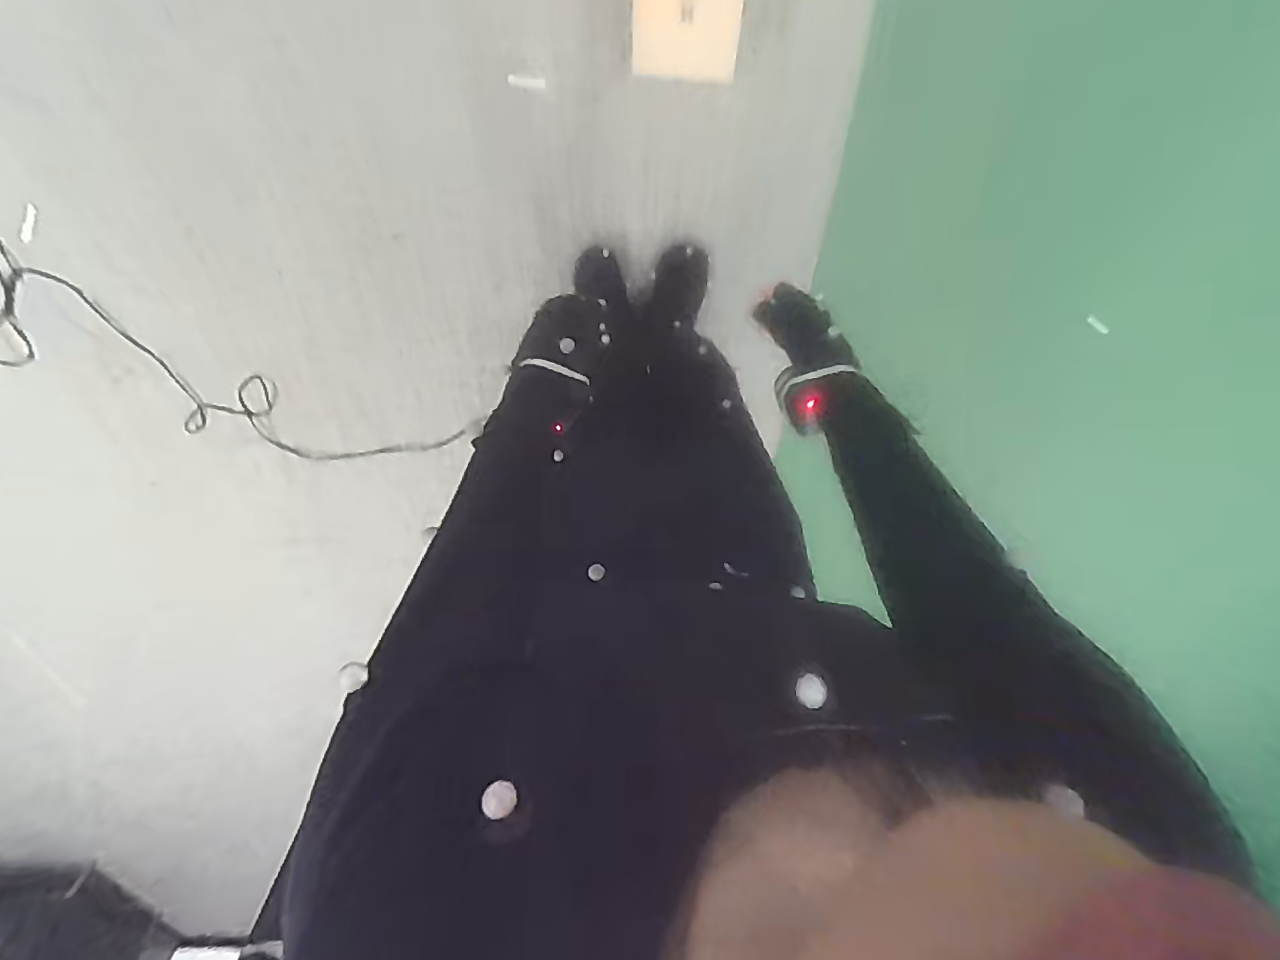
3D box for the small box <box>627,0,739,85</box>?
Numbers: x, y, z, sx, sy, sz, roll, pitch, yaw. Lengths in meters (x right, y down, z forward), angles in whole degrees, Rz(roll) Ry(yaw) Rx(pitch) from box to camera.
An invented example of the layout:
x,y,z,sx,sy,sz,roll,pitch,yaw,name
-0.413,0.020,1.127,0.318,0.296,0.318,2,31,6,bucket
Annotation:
x,y,z,sx,sy,sz,roll,pitch,yaw,name
0.066,-0.757,0.879,0.168,0.176,0.179,2,125,-3,small box
